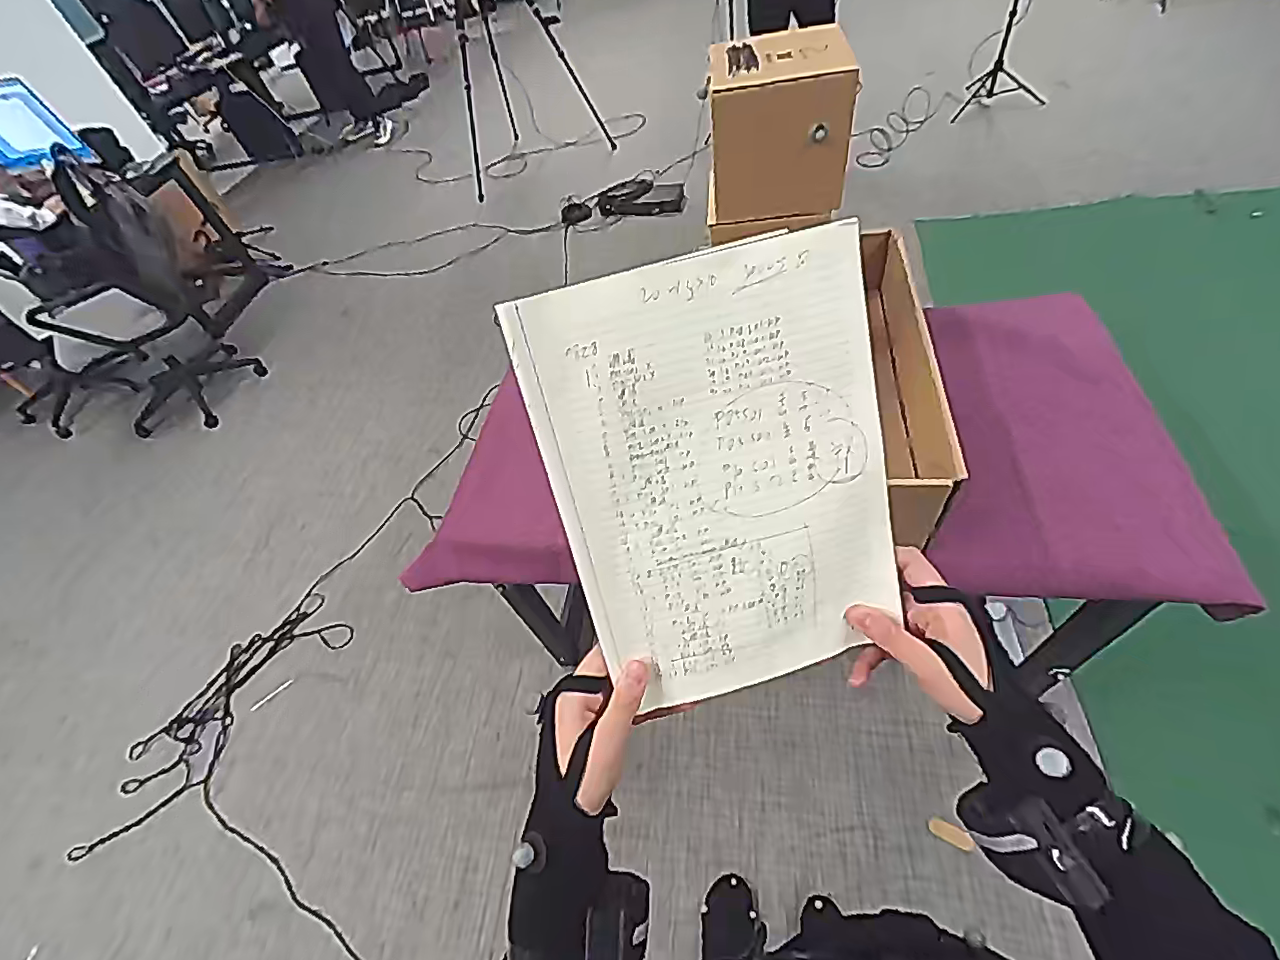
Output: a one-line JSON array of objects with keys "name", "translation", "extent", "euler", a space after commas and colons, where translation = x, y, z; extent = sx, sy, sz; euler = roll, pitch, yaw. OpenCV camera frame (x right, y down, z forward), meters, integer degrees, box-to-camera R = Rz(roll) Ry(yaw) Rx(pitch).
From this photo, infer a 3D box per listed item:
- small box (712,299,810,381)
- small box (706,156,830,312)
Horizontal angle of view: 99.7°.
[{"name": "small box", "translation": [0.228, -0.300, 1.010], "extent": [0.168, 0.176, 0.179], "euler": [1, 55, 13]}, {"name": "small box", "translation": [0.205, -0.392, 0.879], "extent": [0.179, 0.176, 0.168], "euler": [-1, 54, 12]}]
